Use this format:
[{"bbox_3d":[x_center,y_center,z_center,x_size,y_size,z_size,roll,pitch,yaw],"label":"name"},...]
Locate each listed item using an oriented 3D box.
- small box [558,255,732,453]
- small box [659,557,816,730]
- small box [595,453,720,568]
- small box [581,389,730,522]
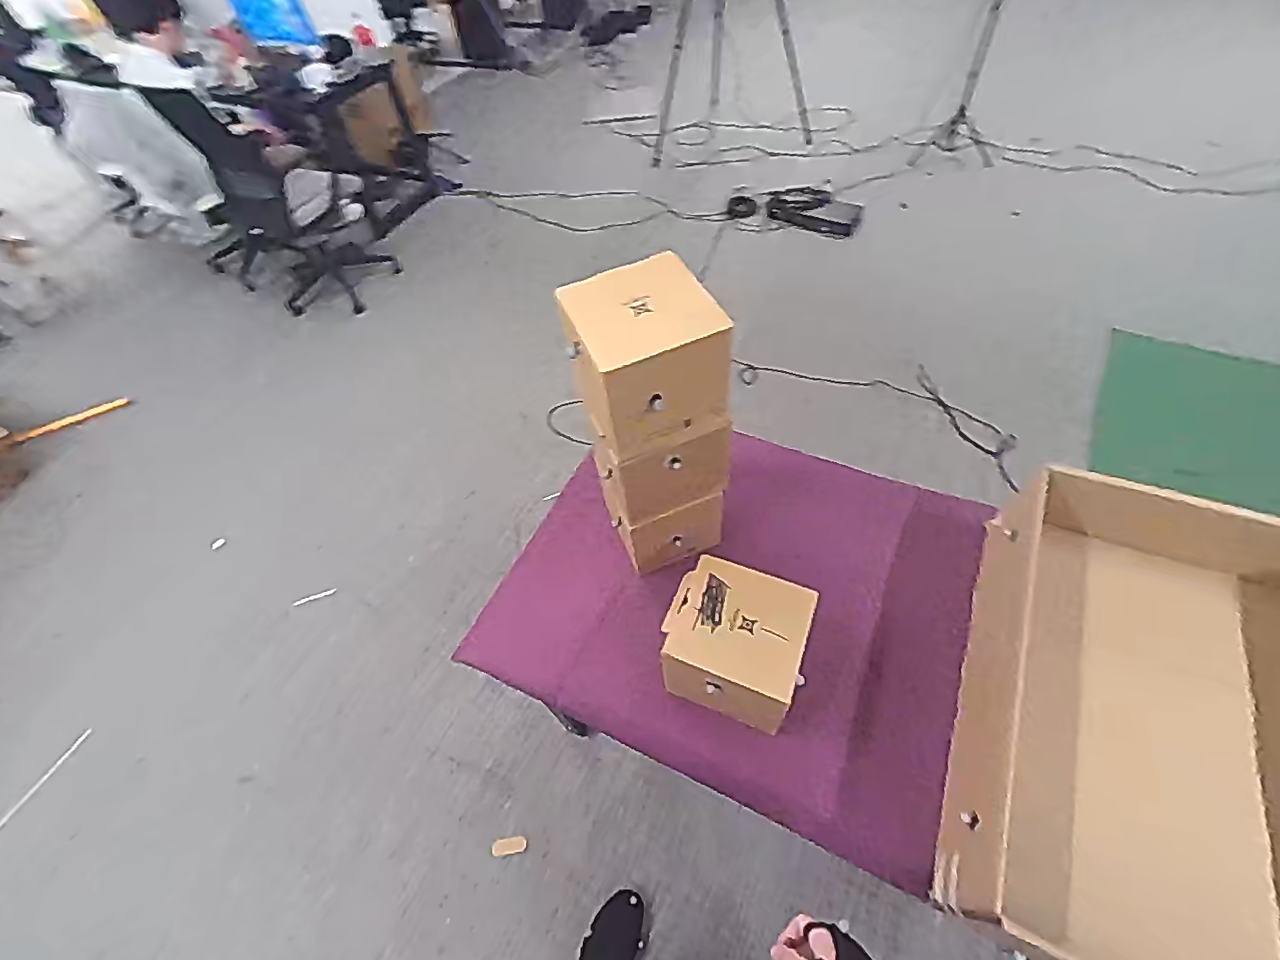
[{"bbox_3d":[0.009,-0.157,0.714,0.168,0.176,0.179,-22,55,-9],"label":"small box"},{"bbox_3d":[0.142,0.247,0.804,0.179,0.176,0.168,17,56,18],"label":"small box"},{"bbox_3d":[0.033,0.038,0.972,0.168,0.176,0.179,-20,54,-9],"label":"small box"},{"bbox_3d":[0.026,-0.060,0.842,0.179,0.176,0.168,-20,55,-9],"label":"small box"}]
